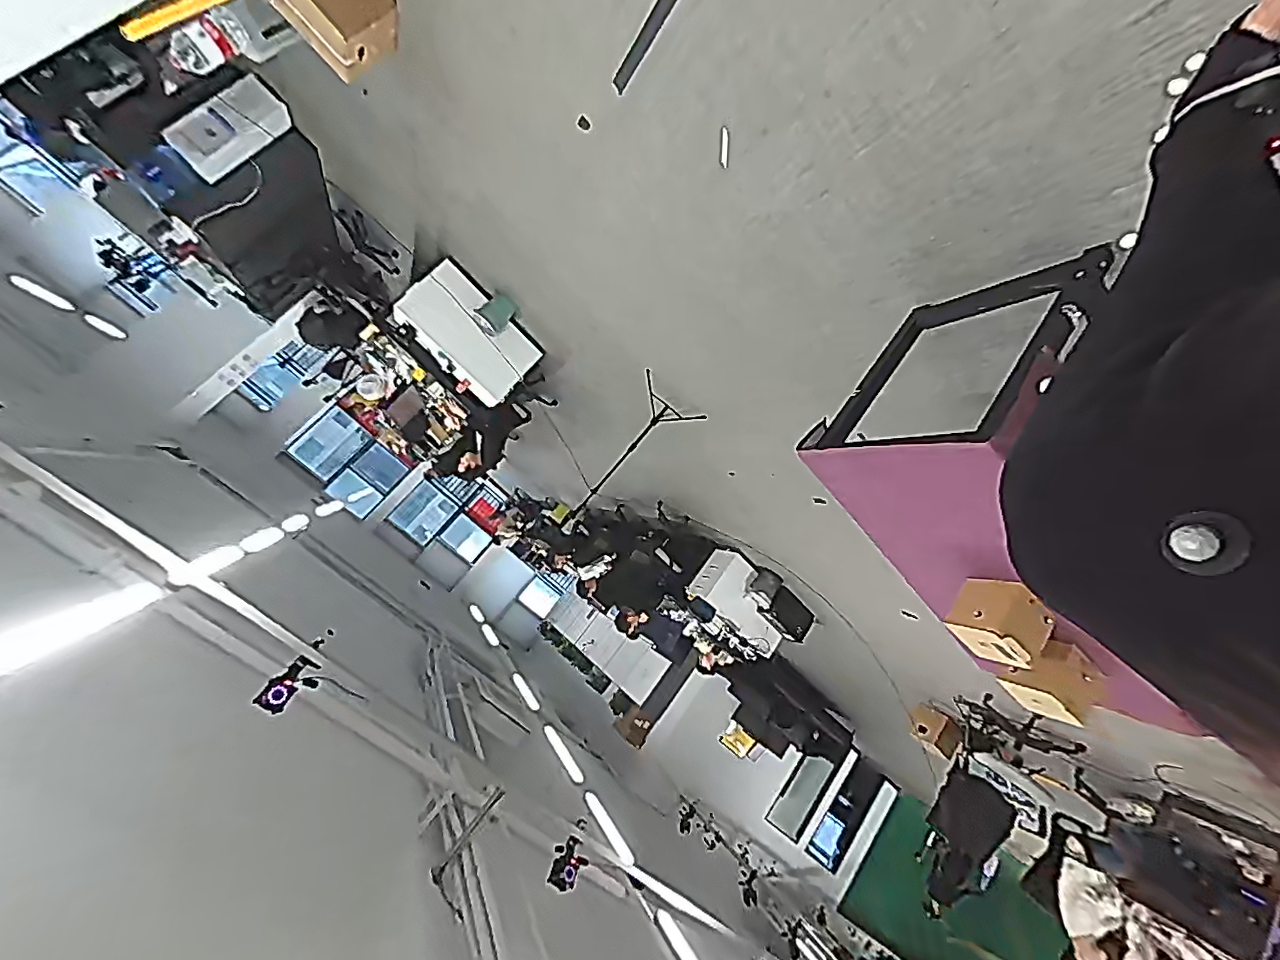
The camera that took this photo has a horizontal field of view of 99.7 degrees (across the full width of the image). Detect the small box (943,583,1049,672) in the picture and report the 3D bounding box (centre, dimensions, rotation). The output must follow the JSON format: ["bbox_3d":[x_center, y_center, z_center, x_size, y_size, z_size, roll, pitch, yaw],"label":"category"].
[{"bbox_3d":[1.021,0.413,1.542,0.168,0.176,0.179,43,164,-9],"label":"small box"}]

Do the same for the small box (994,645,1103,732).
[{"bbox_3d":[1.217,0.604,1.611,0.168,0.176,0.179,43,163,-10],"label":"small box"}]
